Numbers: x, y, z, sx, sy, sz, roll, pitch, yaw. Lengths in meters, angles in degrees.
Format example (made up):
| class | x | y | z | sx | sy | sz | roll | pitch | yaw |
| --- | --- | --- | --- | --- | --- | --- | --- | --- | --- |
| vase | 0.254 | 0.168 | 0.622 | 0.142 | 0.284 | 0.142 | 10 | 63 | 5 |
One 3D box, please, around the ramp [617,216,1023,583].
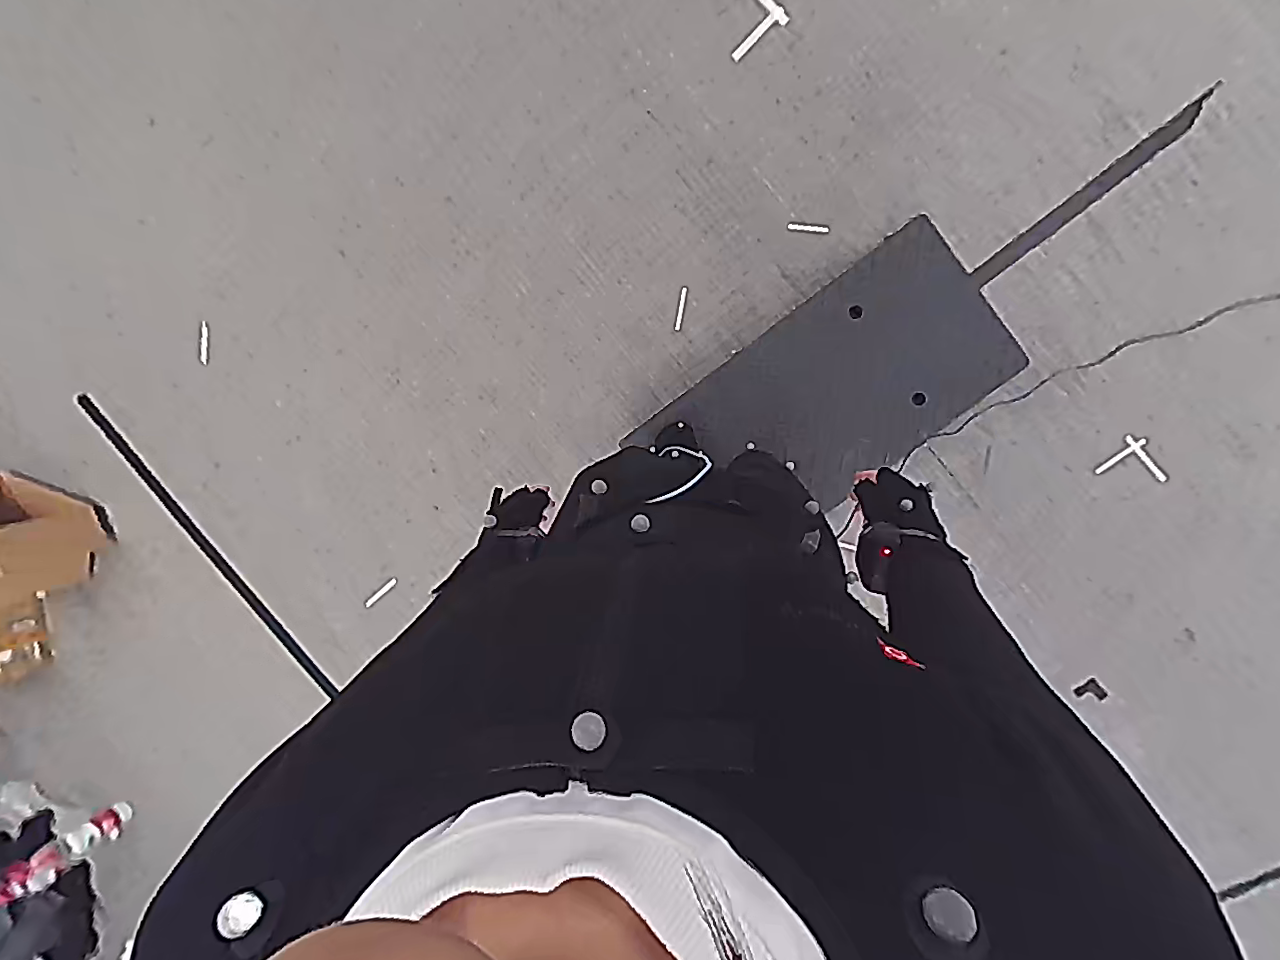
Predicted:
| class | x | y | z | sx | sy | sz | roll | pitch | yaw |
| --- | --- | --- | --- | --- | --- | --- | --- | --- | --- |
| ramp | 0.473 | -0.210 | 1.438 | 0.991 | 0.206 | 0.509 | -39 | 91 | 12 |
